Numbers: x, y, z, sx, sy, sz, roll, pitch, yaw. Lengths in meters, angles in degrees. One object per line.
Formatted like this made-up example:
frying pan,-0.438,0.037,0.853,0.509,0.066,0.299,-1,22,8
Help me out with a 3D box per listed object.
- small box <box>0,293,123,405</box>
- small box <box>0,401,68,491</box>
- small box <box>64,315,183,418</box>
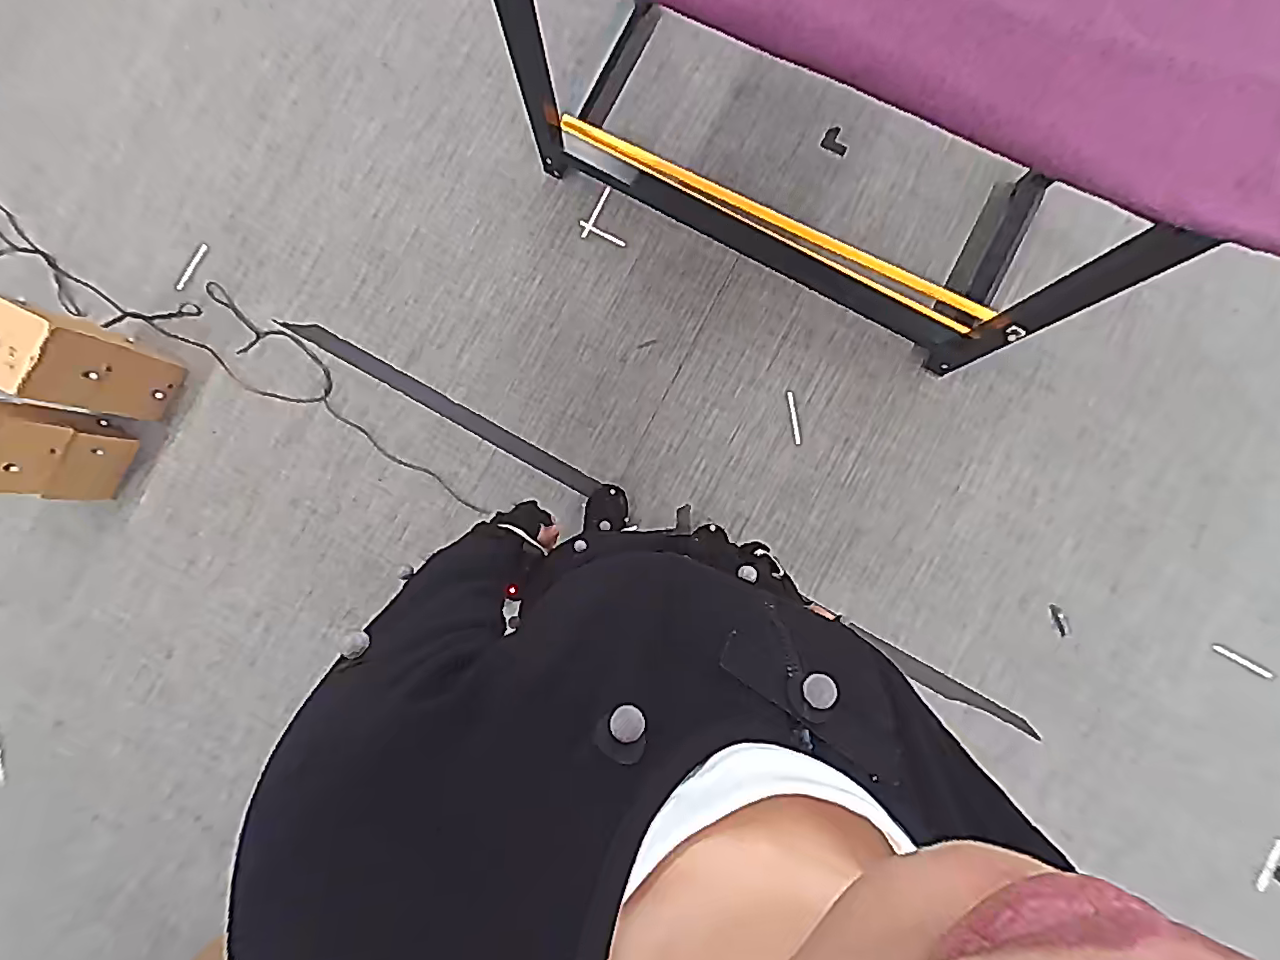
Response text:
small box,-1.292,-0.276,1.156,0.179,0.176,0.168,26,88,1
small box,-1.402,-0.081,1.150,0.179,0.176,0.168,23,87,2
small box,-1.293,-0.267,1.321,0.179,0.176,0.168,28,87,0
